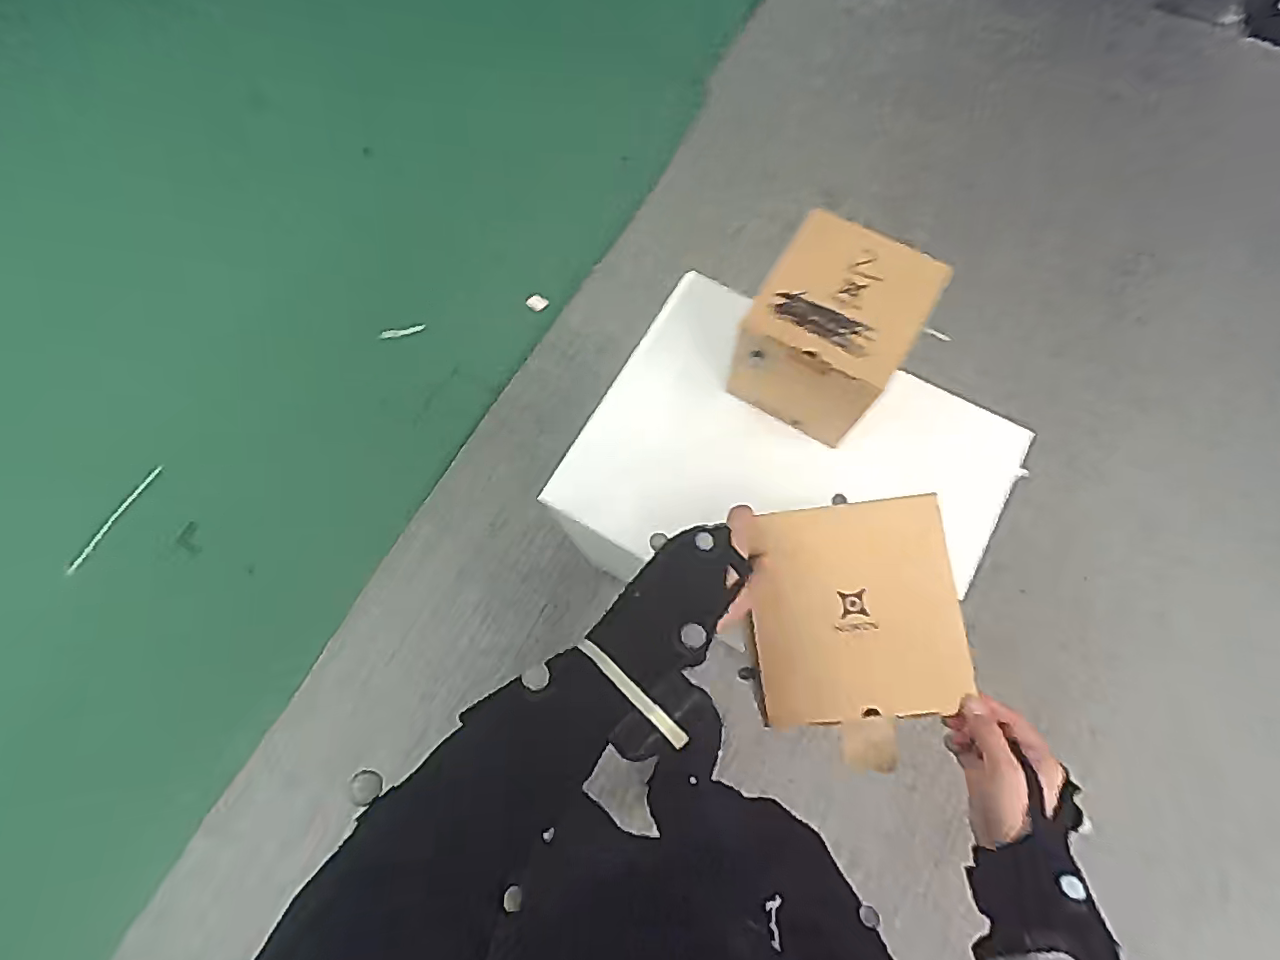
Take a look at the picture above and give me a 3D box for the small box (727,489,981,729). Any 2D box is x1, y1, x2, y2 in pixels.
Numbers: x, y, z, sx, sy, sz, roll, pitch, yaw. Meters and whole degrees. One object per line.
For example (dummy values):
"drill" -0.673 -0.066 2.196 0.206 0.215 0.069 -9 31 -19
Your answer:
"small box" 0.179 0.115 0.512 0.168 0.176 0.179 -8 81 5
